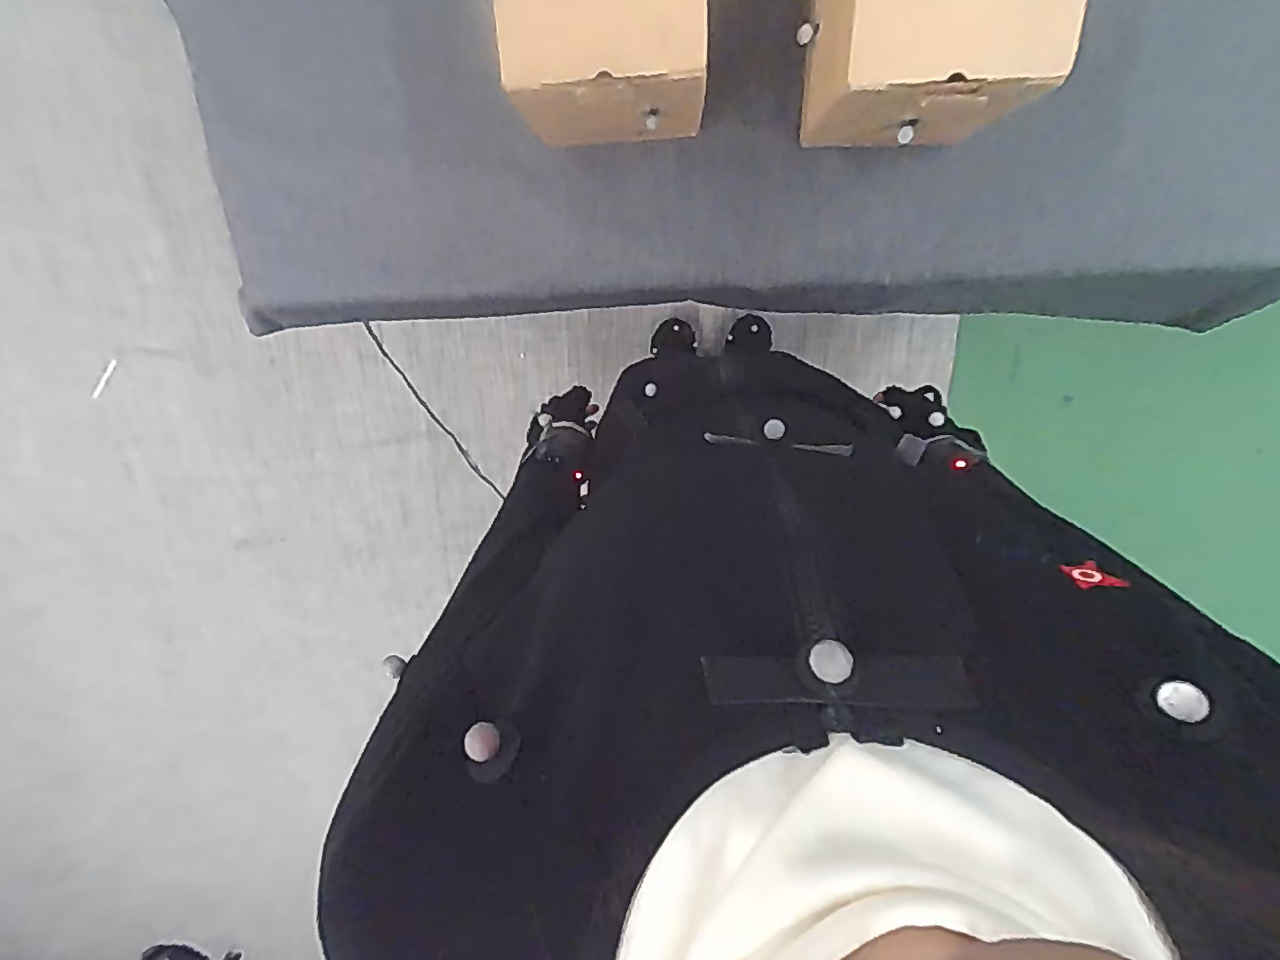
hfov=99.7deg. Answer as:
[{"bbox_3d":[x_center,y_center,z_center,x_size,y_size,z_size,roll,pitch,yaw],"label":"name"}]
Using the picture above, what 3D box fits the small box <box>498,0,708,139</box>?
[{"bbox_3d":[-0.027,-0.426,0.483,0.168,0.176,0.179,-3,106,3],"label":"small box"}]
